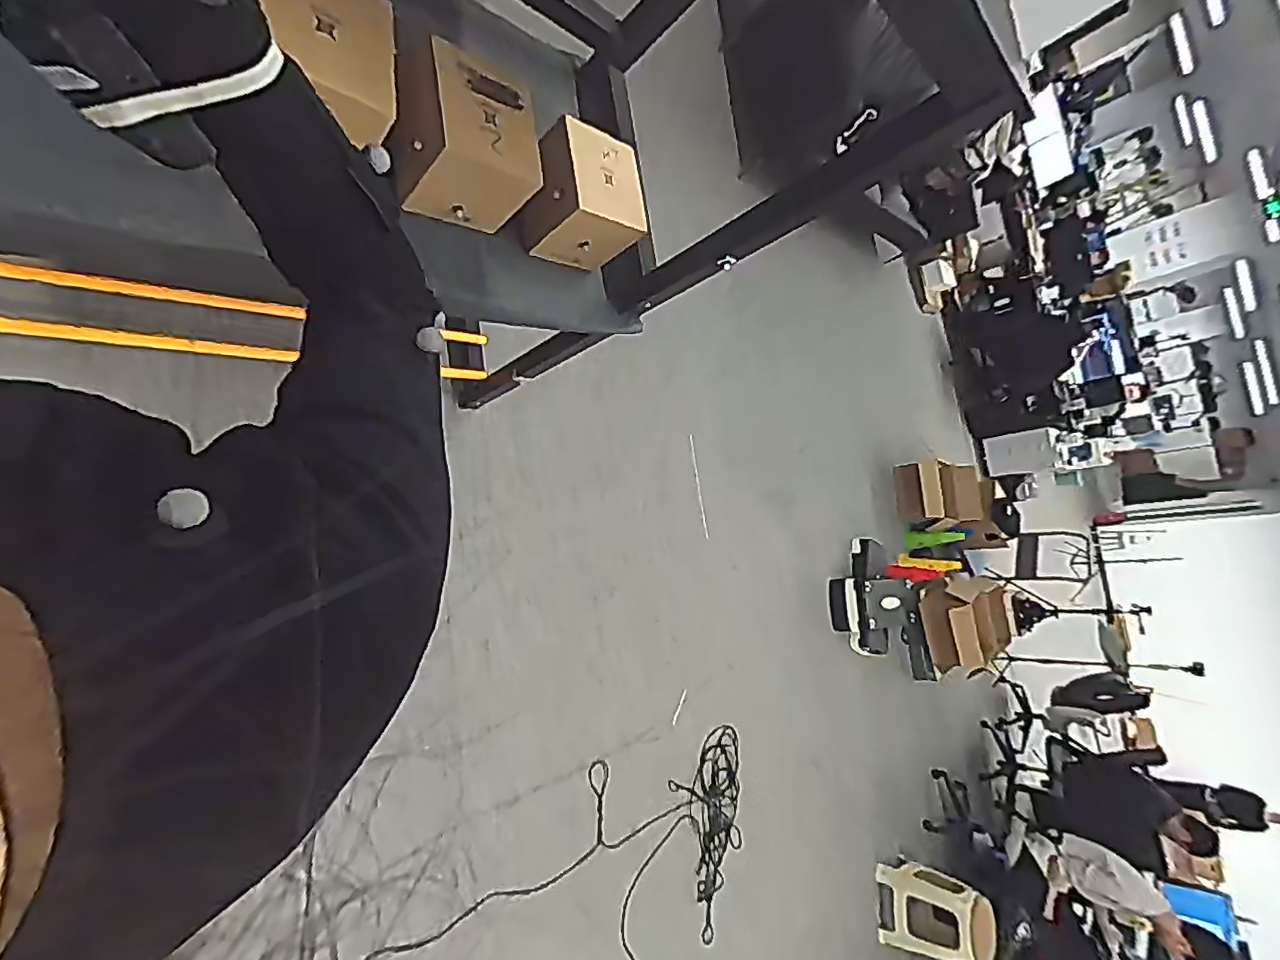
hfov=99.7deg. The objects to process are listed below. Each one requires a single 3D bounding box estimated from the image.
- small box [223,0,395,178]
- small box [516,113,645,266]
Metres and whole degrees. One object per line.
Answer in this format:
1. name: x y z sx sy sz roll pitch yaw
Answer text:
1. small box: -0.442 -0.550 0.722 0.168 0.176 0.179 2 79 -44
2. small box: -0.117 -0.535 1.030 0.168 0.176 0.179 -5 84 -45
